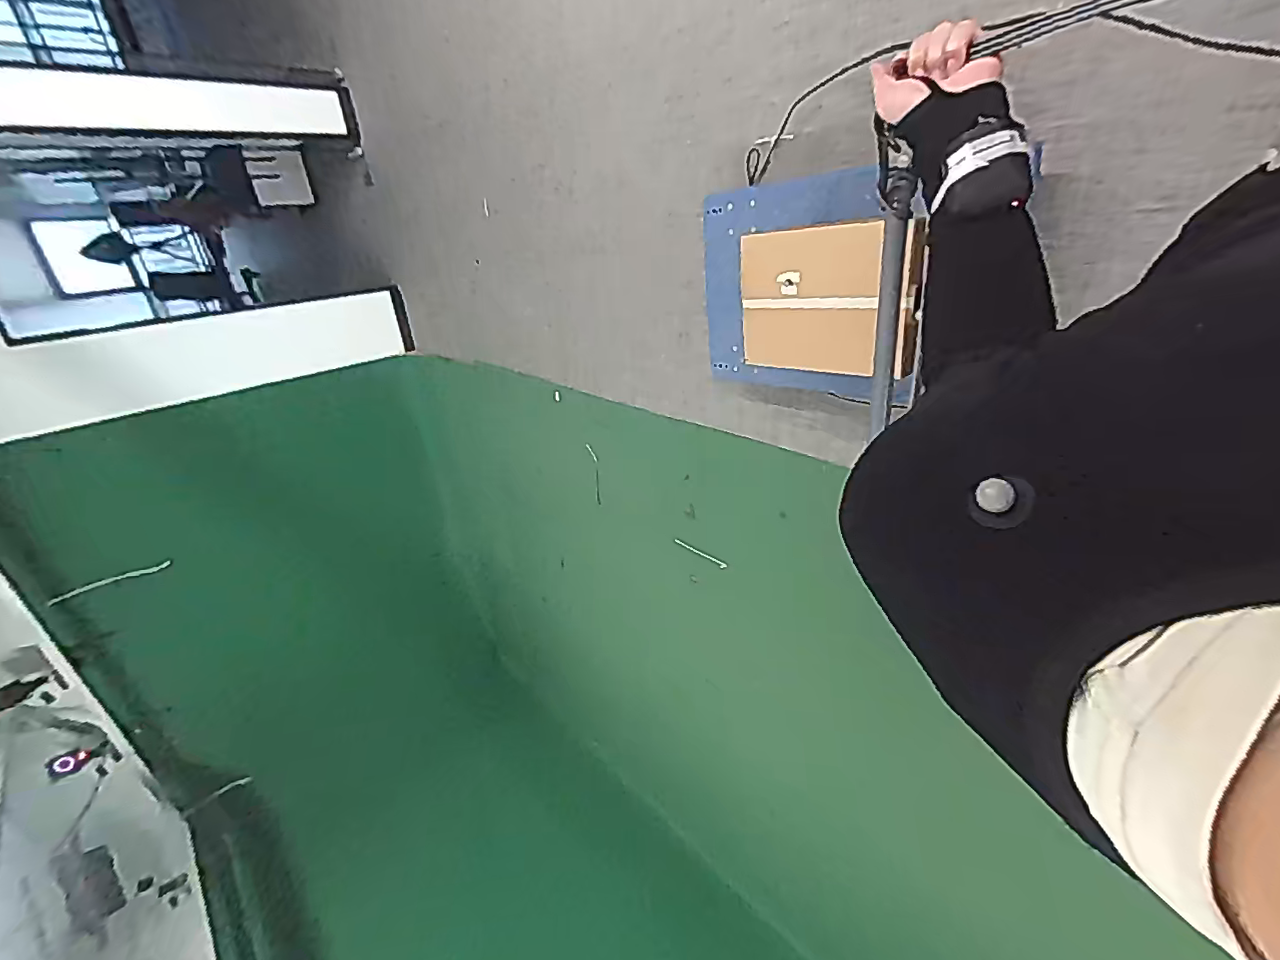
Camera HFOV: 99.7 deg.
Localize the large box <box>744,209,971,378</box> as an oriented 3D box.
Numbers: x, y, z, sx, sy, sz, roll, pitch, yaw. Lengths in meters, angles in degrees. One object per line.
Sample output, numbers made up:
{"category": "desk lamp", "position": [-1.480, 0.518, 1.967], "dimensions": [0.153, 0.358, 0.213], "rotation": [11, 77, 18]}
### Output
{"category": "large box", "position": [0.509, -0.446, 1.294], "dimensions": [0.408, 0.320, 0.320], "rotation": [19, 124, 44]}
